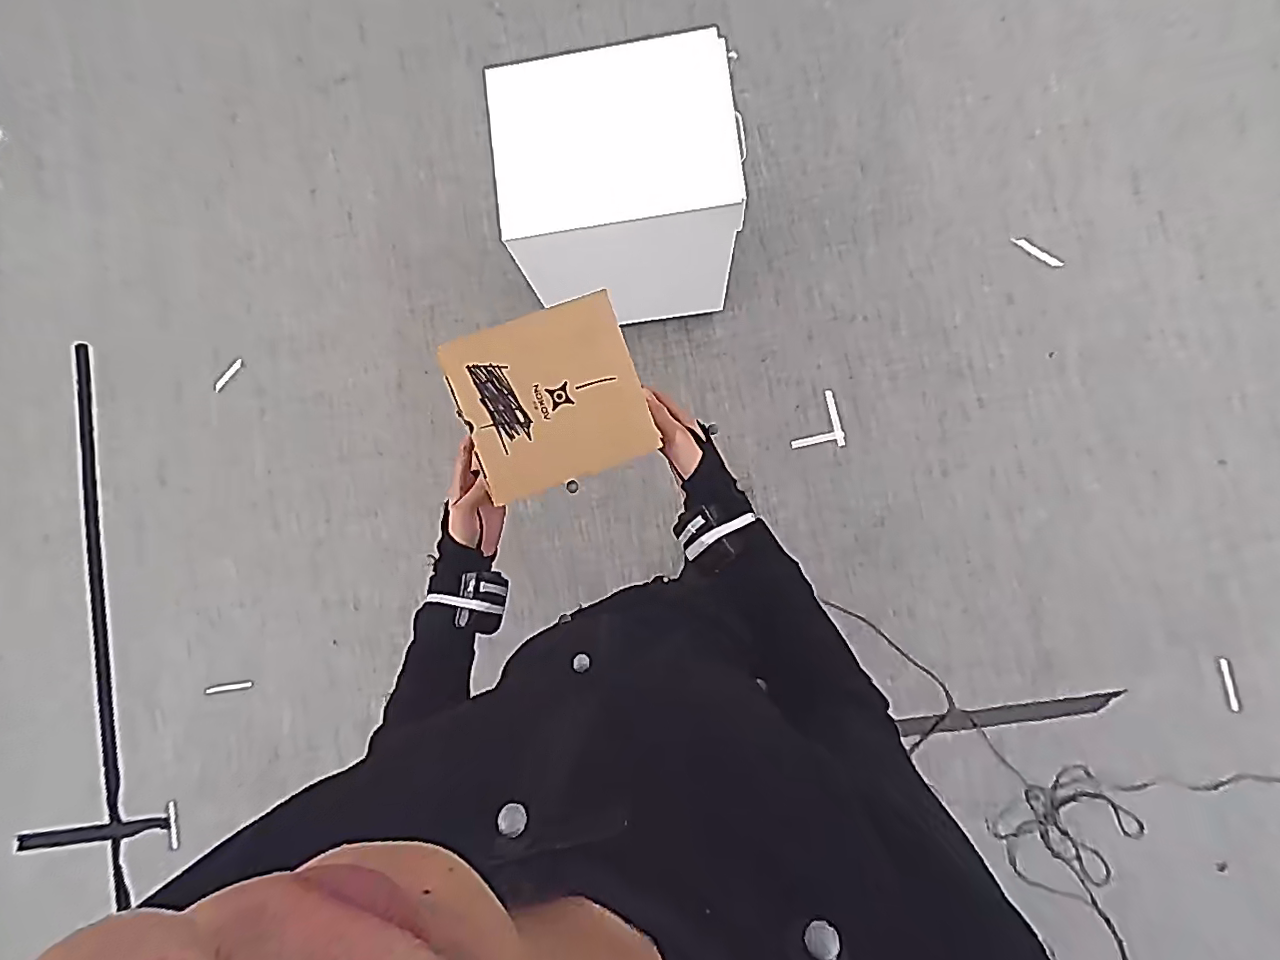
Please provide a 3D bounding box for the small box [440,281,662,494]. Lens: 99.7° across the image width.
[{"bbox_3d":[-0.092,-0.093,0.603,0.179,0.176,0.168,-21,95,-5],"label":"small box"}]
